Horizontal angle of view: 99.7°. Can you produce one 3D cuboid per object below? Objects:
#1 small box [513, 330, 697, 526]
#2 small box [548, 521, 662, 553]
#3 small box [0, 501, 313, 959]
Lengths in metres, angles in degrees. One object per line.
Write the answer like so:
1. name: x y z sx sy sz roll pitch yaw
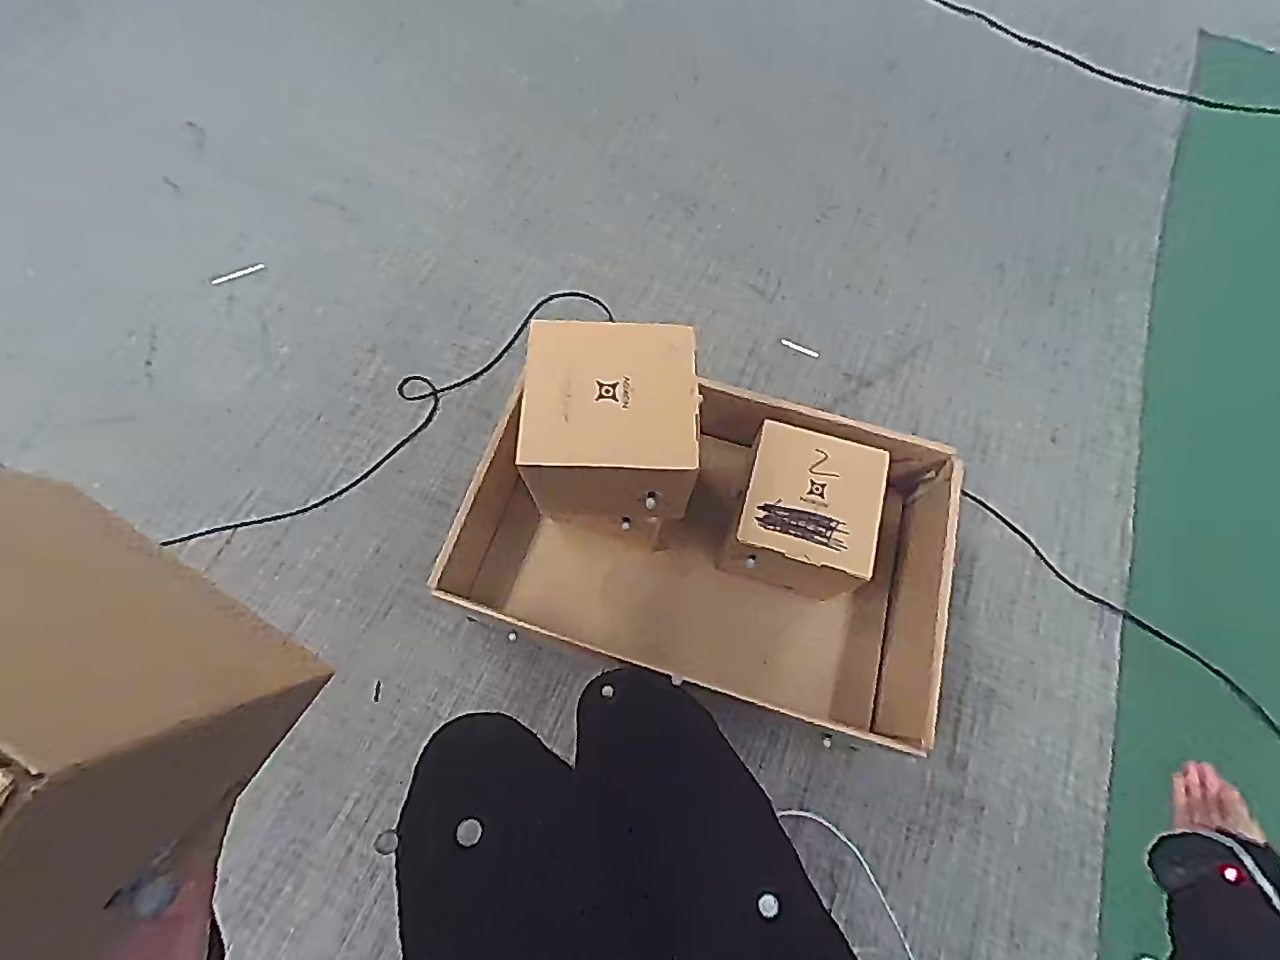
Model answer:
1. small box: -0.033 -0.049 0.614 0.179 0.176 0.168 2 69 0
2. small box: -0.039 -0.008 0.772 0.179 0.176 0.168 18 70 4
3. small box: -0.269 0.109 0.187 0.179 0.176 0.168 36 77 -1
